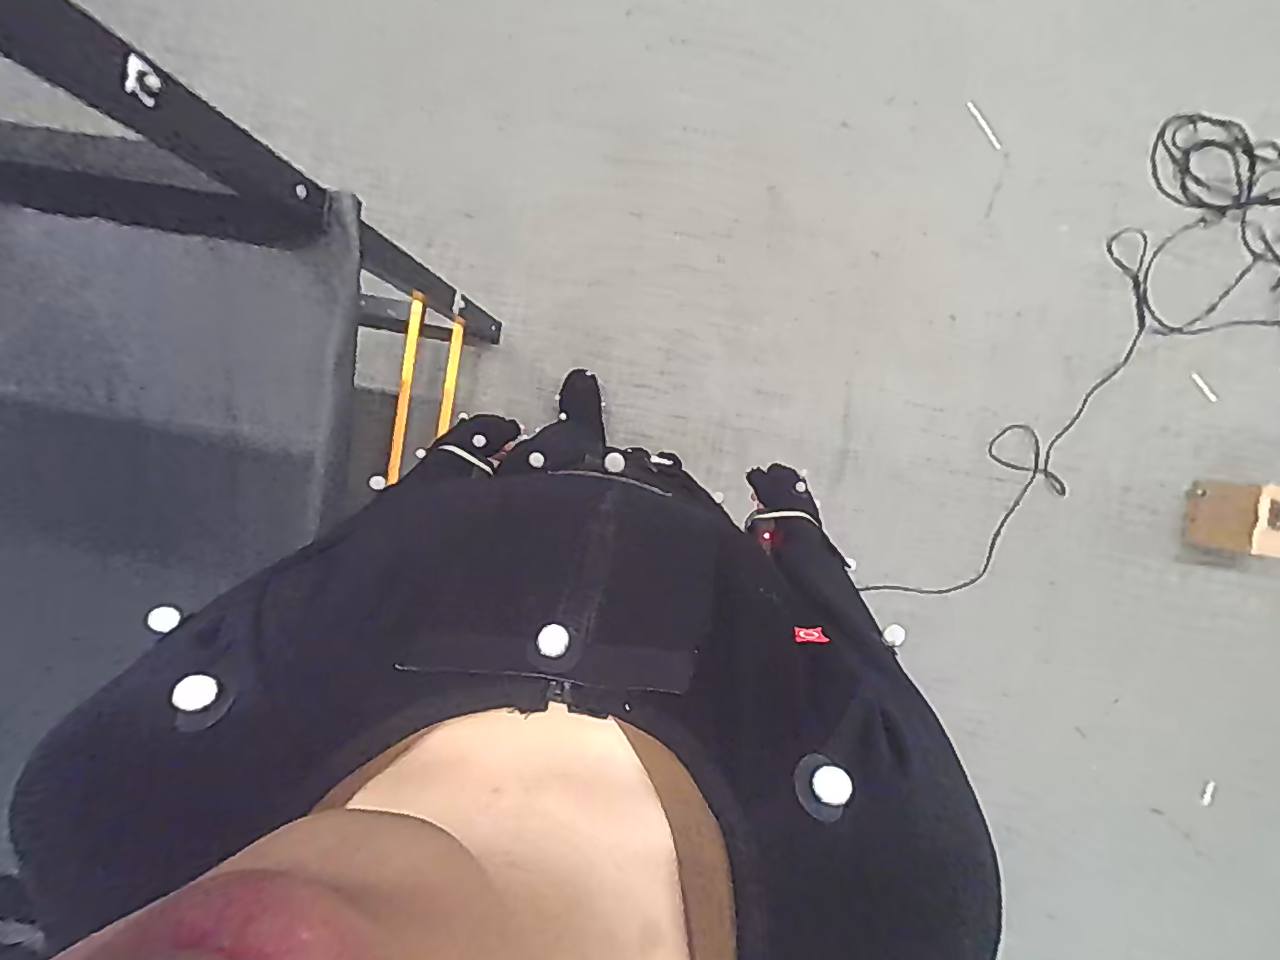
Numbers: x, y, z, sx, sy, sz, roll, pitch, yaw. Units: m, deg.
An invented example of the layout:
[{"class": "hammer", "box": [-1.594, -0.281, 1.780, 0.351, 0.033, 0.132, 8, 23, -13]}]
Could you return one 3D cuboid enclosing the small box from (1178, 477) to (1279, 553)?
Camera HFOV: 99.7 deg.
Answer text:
[{"class": "small box", "box": [1.513, 0.086, 1.346, 0.179, 0.176, 0.168, 8, 94, 1]}]
